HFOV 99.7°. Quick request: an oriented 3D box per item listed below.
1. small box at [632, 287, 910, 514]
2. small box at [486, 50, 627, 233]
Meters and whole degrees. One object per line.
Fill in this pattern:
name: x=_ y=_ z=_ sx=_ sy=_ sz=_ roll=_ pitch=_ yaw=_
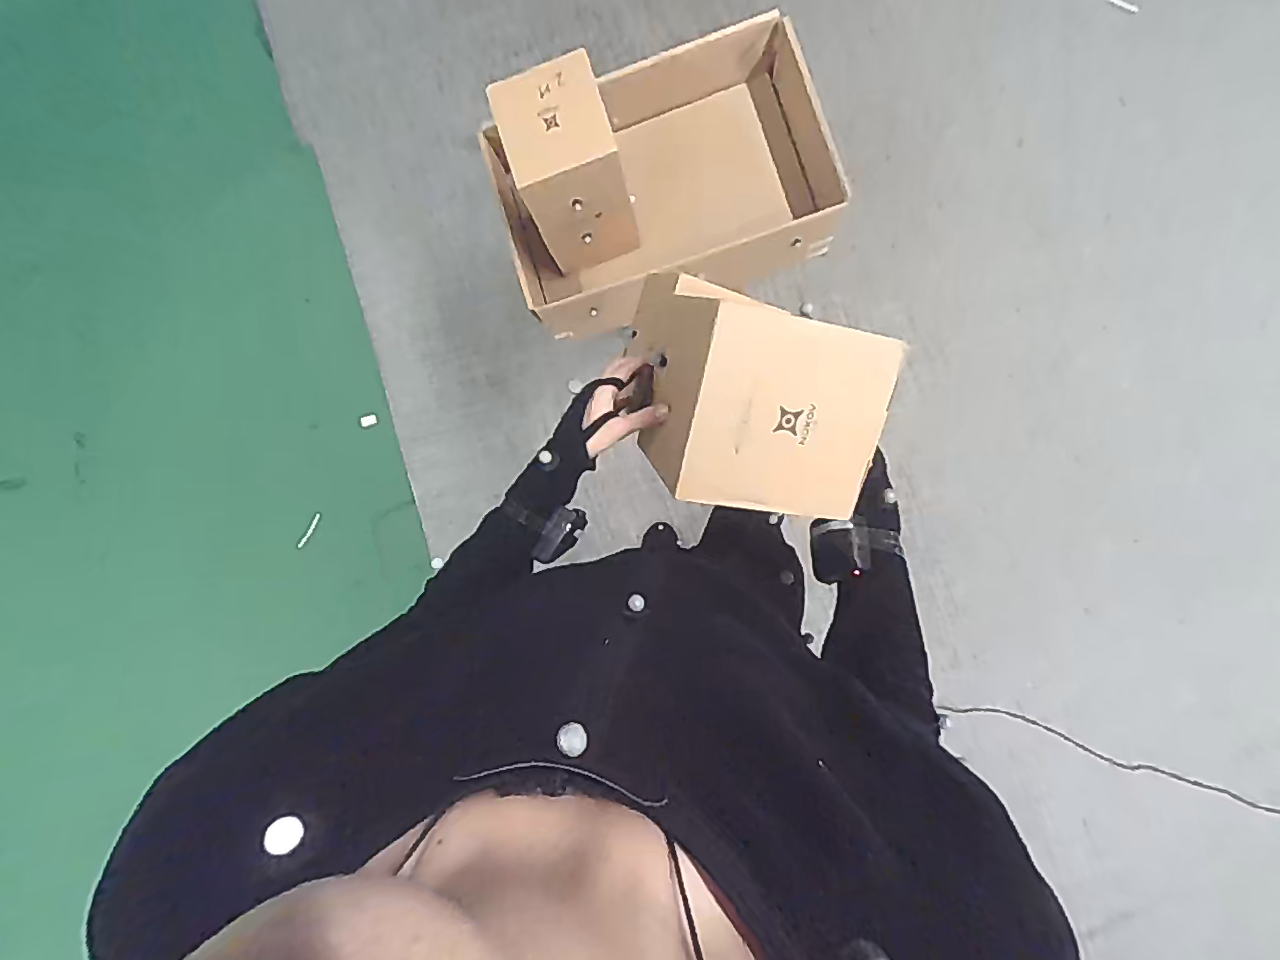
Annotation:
small box: x=0.105 y=-0.082 z=0.514 sx=0.179 sy=0.176 sz=0.168 roll=8 pitch=107 yaw=-15
small box: x=-0.127 y=-0.536 z=0.890 sx=0.168 sy=0.176 sz=0.179 roll=-17 pitch=85 yaw=5
